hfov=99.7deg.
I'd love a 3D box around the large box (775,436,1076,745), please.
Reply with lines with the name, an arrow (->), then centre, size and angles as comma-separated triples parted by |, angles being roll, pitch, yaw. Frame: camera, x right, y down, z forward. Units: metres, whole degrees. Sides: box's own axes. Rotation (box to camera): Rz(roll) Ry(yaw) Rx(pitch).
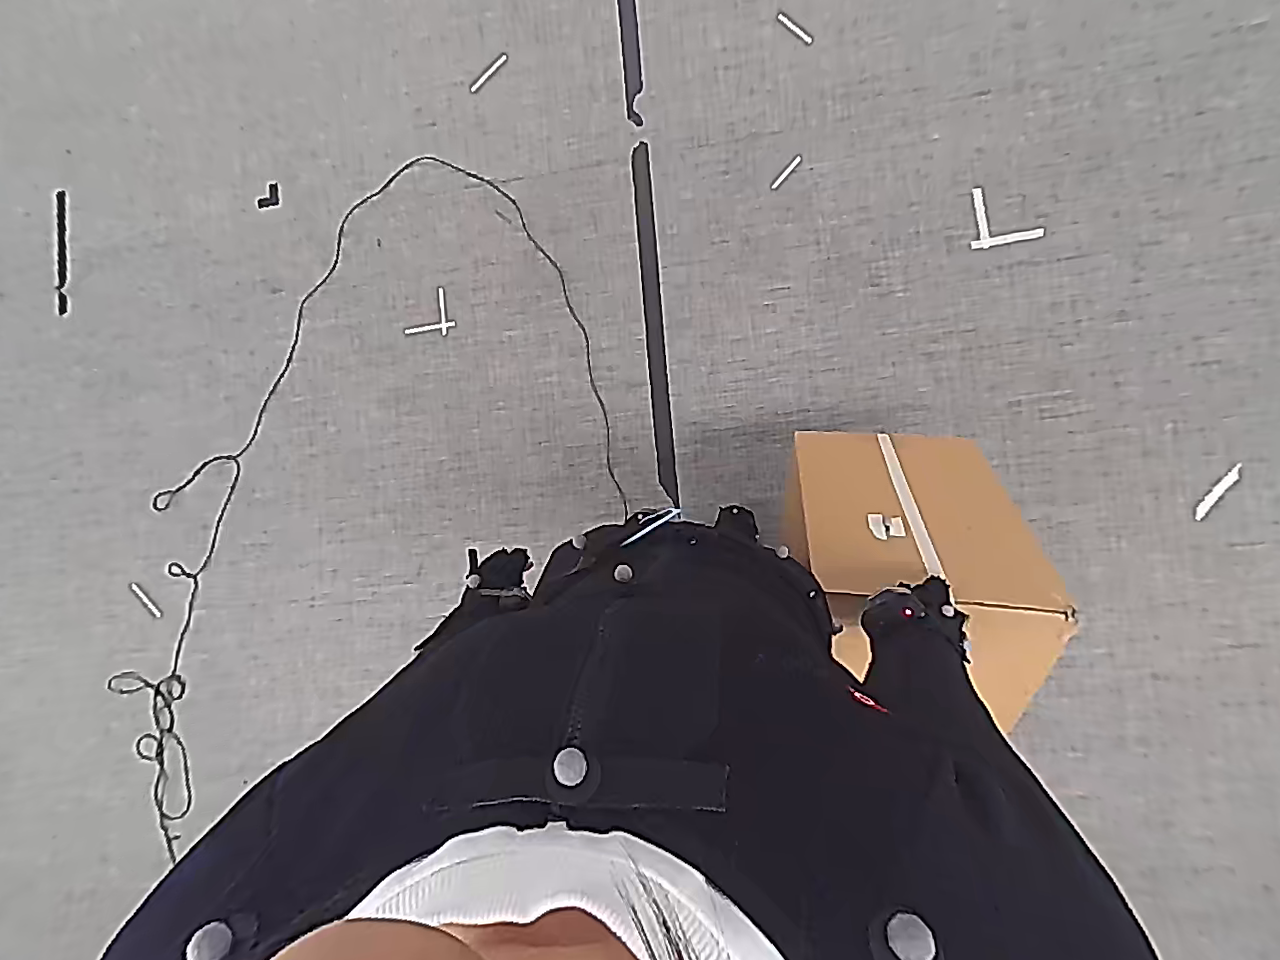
large box -> 0.414, 0.164, 0.921 | 0.320, 0.408, 0.320 | 3, 127, 9
